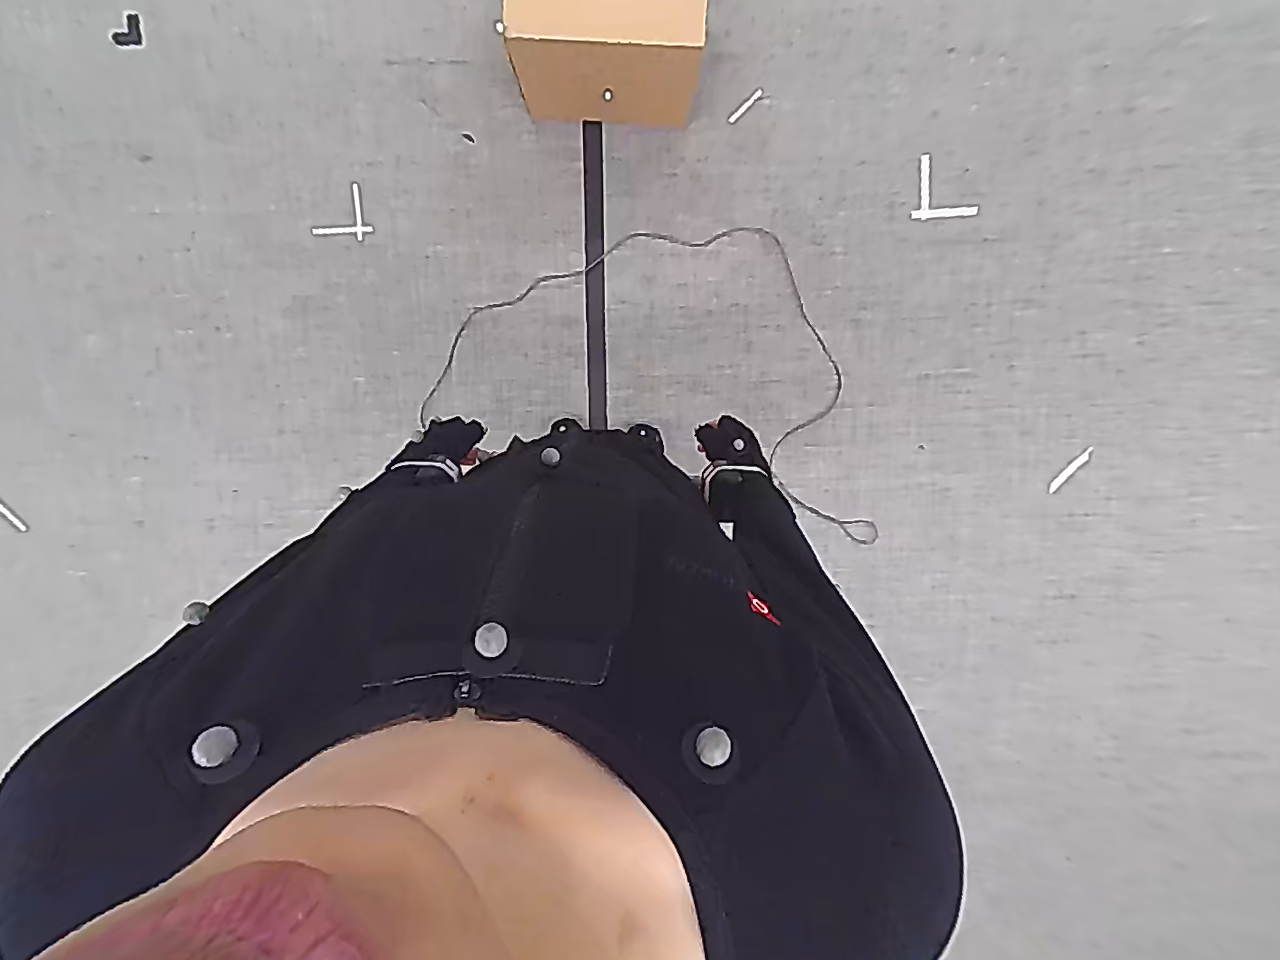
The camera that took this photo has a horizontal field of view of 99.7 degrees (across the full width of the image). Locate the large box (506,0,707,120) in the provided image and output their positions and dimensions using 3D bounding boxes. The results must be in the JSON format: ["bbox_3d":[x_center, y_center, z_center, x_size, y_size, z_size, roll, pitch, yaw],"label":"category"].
[{"bbox_3d":[-0.065,-1.047,1.206,0.408,0.320,0.320,2,97,-1],"label":"large box"}]
